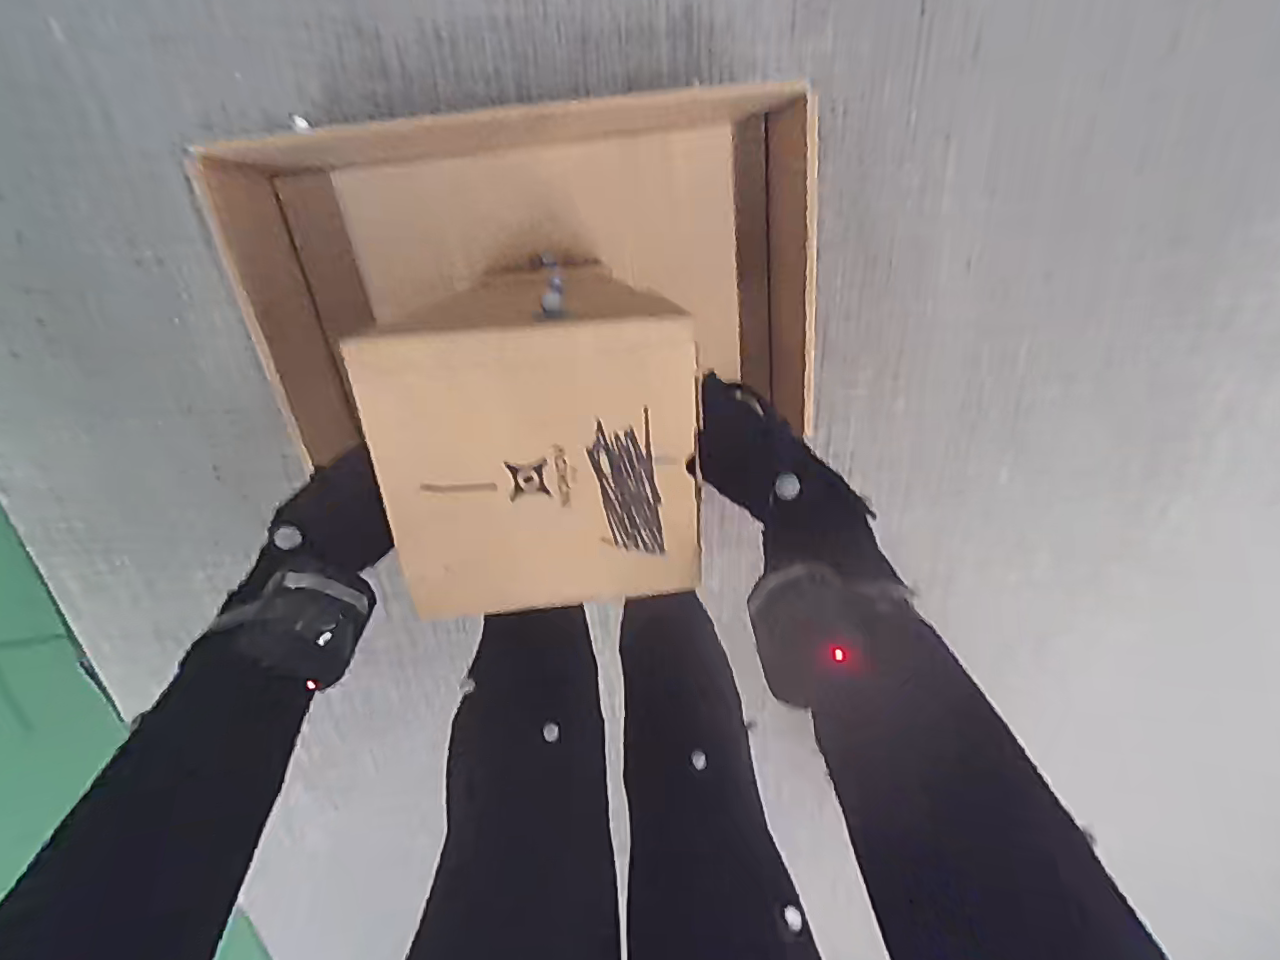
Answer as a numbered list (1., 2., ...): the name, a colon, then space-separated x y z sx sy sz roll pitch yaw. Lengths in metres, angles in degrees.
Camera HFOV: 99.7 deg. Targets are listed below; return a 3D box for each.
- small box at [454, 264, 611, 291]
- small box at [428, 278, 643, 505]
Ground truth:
1. small box: -0.114 -0.166 0.668 0.168 0.176 0.179 -7 113 -5
2. small box: -0.087 -0.094 0.524 0.168 0.176 0.179 -5 114 -5
